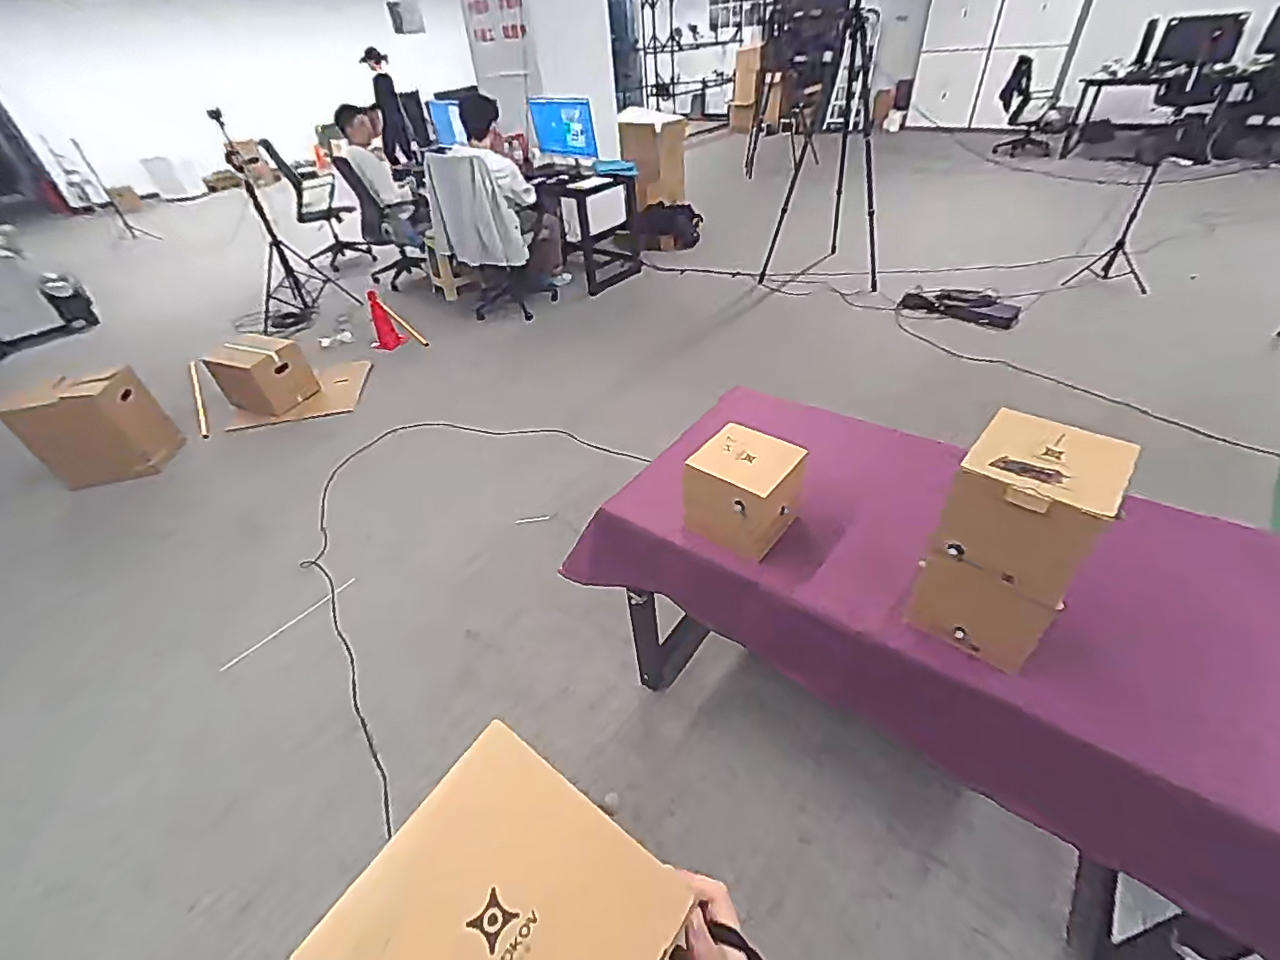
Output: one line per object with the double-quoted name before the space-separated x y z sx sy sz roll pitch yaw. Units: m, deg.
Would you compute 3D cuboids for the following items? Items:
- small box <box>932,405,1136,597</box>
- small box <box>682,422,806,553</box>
"small box" 0.528 0.027 0.745 0.168 0.176 0.179 27 50 34
"small box" 0.201 0.018 1.060 0.179 0.176 0.168 25 48 32
